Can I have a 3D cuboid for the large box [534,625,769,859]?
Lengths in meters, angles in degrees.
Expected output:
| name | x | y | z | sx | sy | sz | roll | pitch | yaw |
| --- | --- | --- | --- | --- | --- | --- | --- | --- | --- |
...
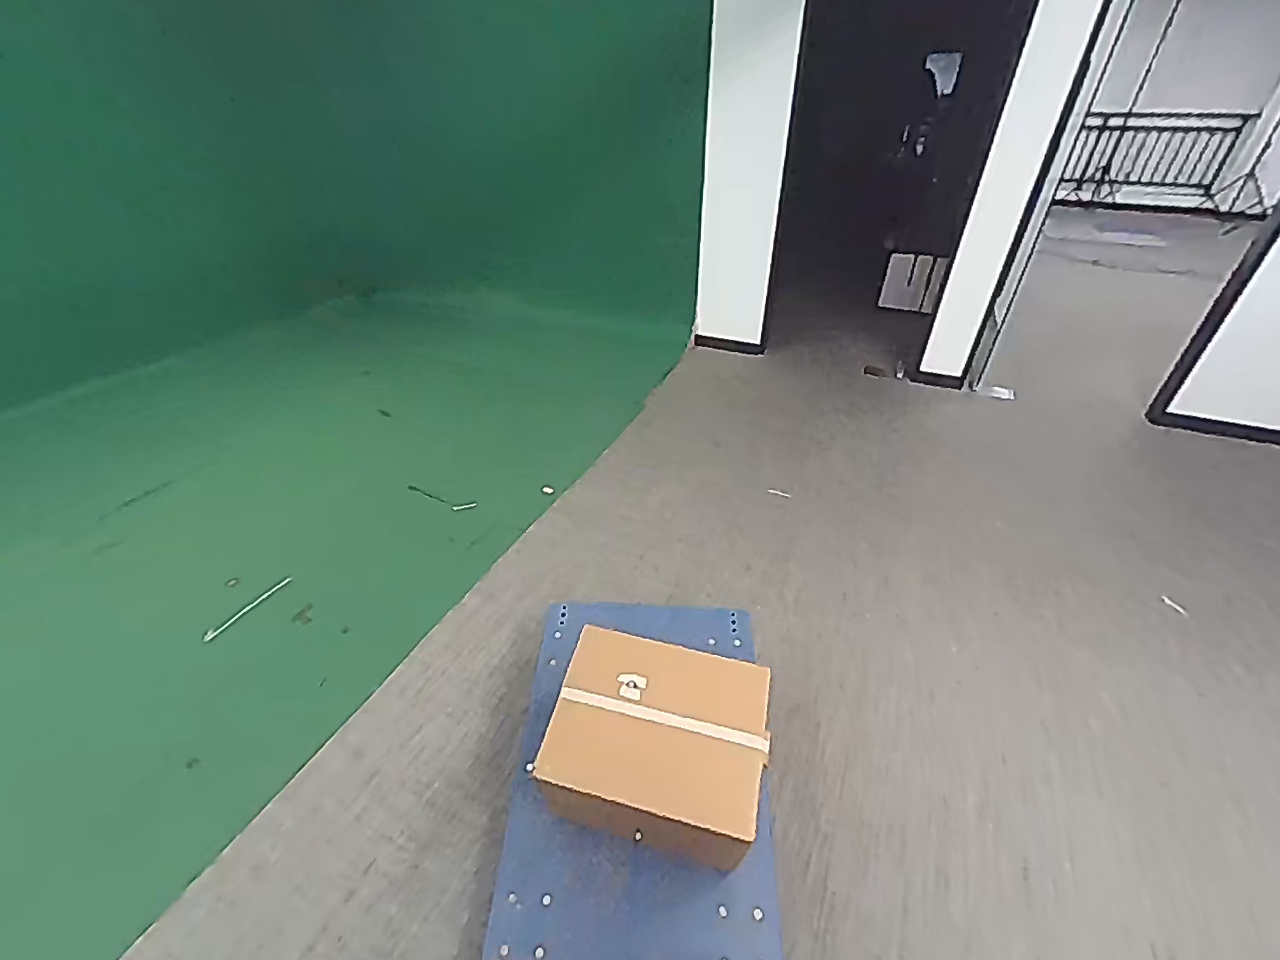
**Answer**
| name | x | y | z | sx | sy | sz | roll | pitch | yaw |
| --- | --- | --- | --- | --- | --- | --- | --- | --- | --- |
| large box | 0.041 | 0.557 | 1.152 | 0.408 | 0.320 | 0.320 | 10 | 48 | 12 |
